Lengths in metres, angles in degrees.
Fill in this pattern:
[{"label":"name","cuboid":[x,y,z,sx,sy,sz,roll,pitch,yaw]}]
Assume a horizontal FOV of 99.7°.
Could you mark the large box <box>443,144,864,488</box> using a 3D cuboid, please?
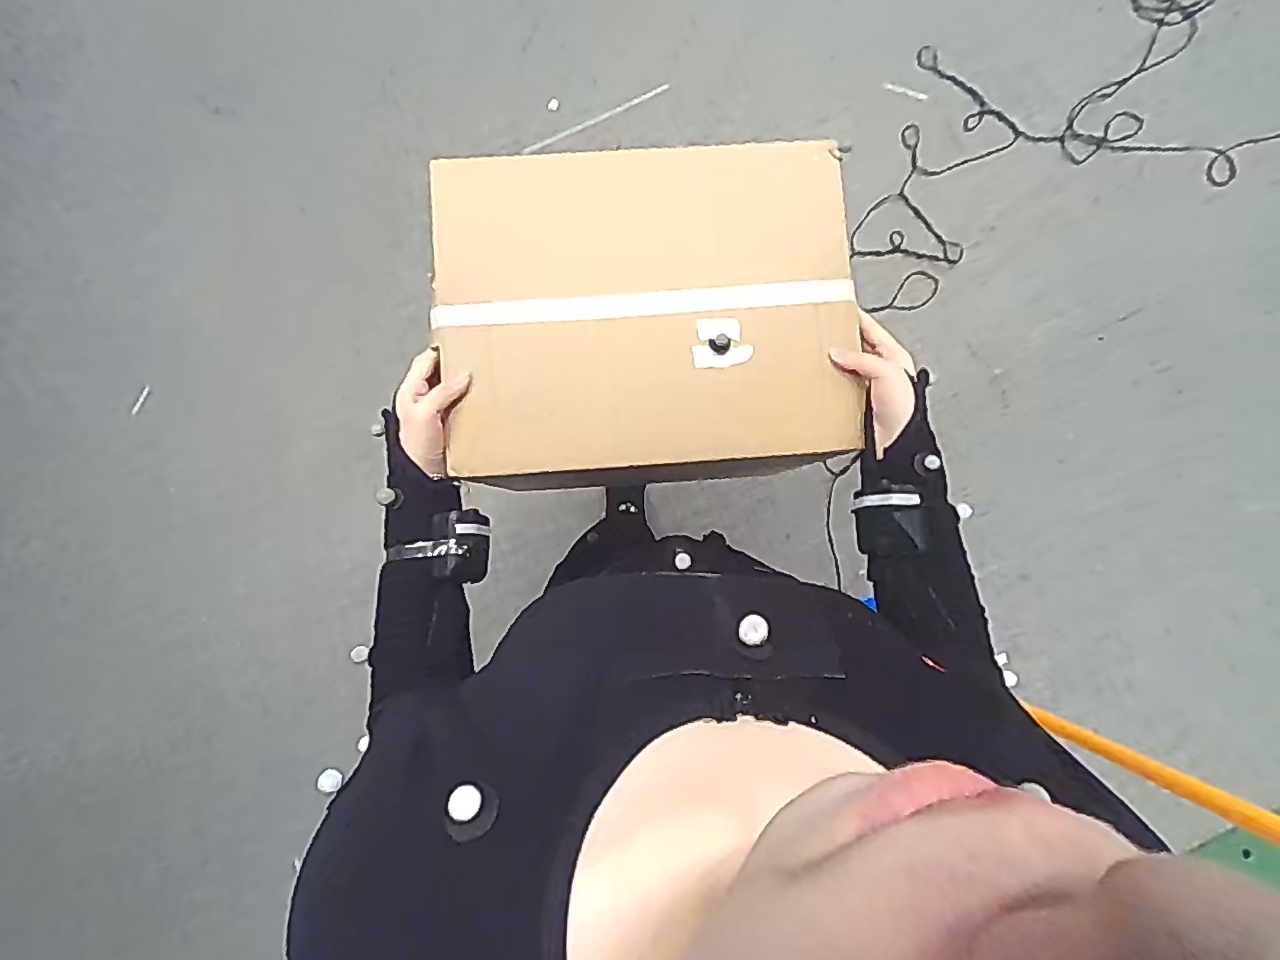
[{"label":"large box","cuboid":[0.005,-0.167,0.681,0.408,0.320,0.320,-4,86,-3]}]
